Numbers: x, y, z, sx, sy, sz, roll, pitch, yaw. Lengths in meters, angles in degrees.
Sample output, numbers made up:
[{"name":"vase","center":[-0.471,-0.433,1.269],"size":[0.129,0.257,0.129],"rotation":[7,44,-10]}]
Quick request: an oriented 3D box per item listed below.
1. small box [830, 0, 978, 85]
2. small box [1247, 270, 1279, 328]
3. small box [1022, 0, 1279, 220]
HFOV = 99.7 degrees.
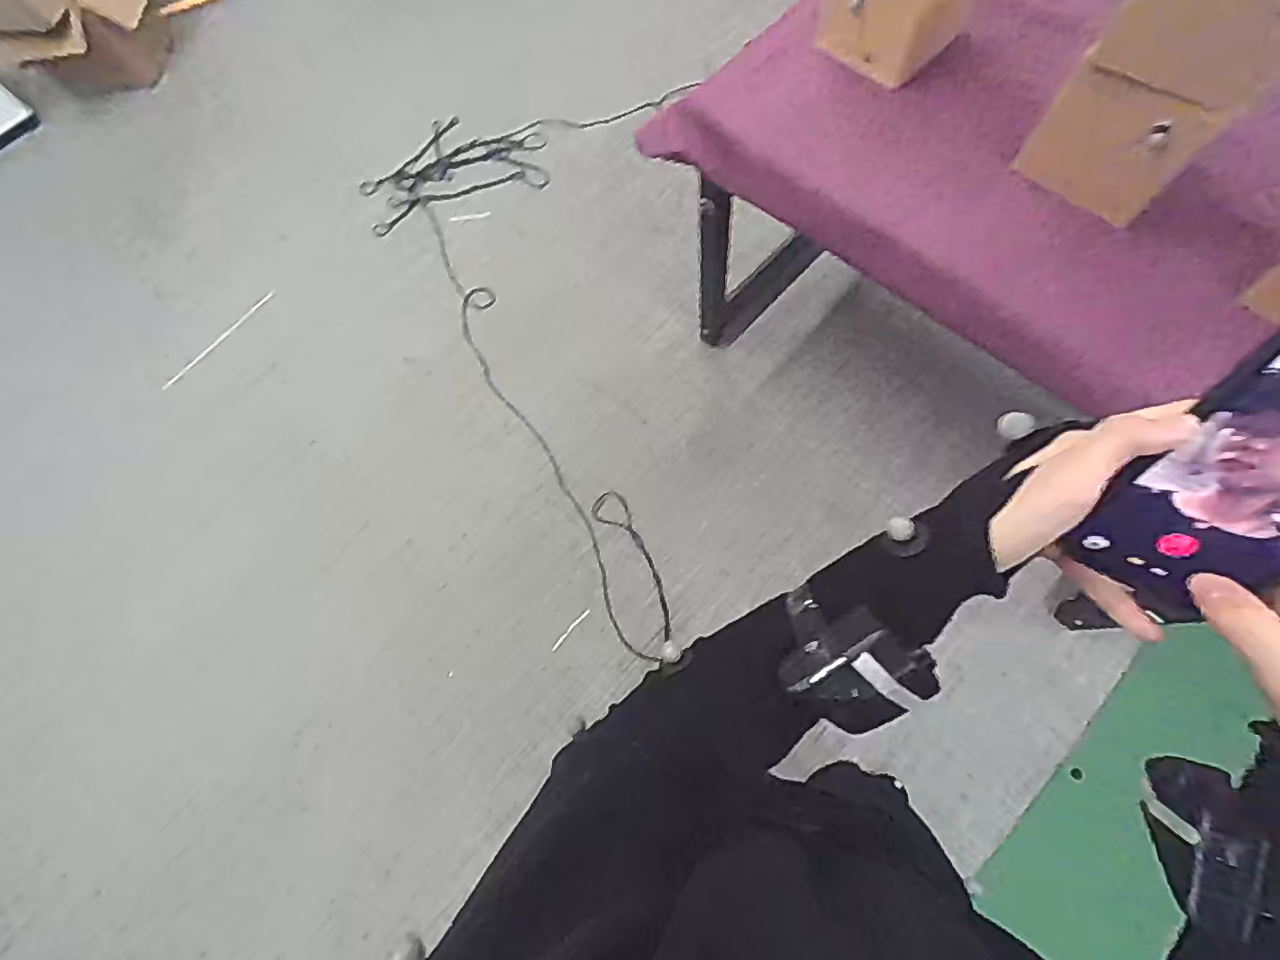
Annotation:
[{"name":"small box","center":[0.411,-0.754,0.819],"size":[0.179,0.176,0.168],"rotation":[-42,73,-7]},{"name":"small box","center":[0.881,-0.235,0.603],"size":[0.168,0.176,0.179],"rotation":[-37,72,-6]},{"name":"small box","center":[0.661,-0.476,0.702],"size":[0.168,0.176,0.179],"rotation":[-43,73,-7]}]
